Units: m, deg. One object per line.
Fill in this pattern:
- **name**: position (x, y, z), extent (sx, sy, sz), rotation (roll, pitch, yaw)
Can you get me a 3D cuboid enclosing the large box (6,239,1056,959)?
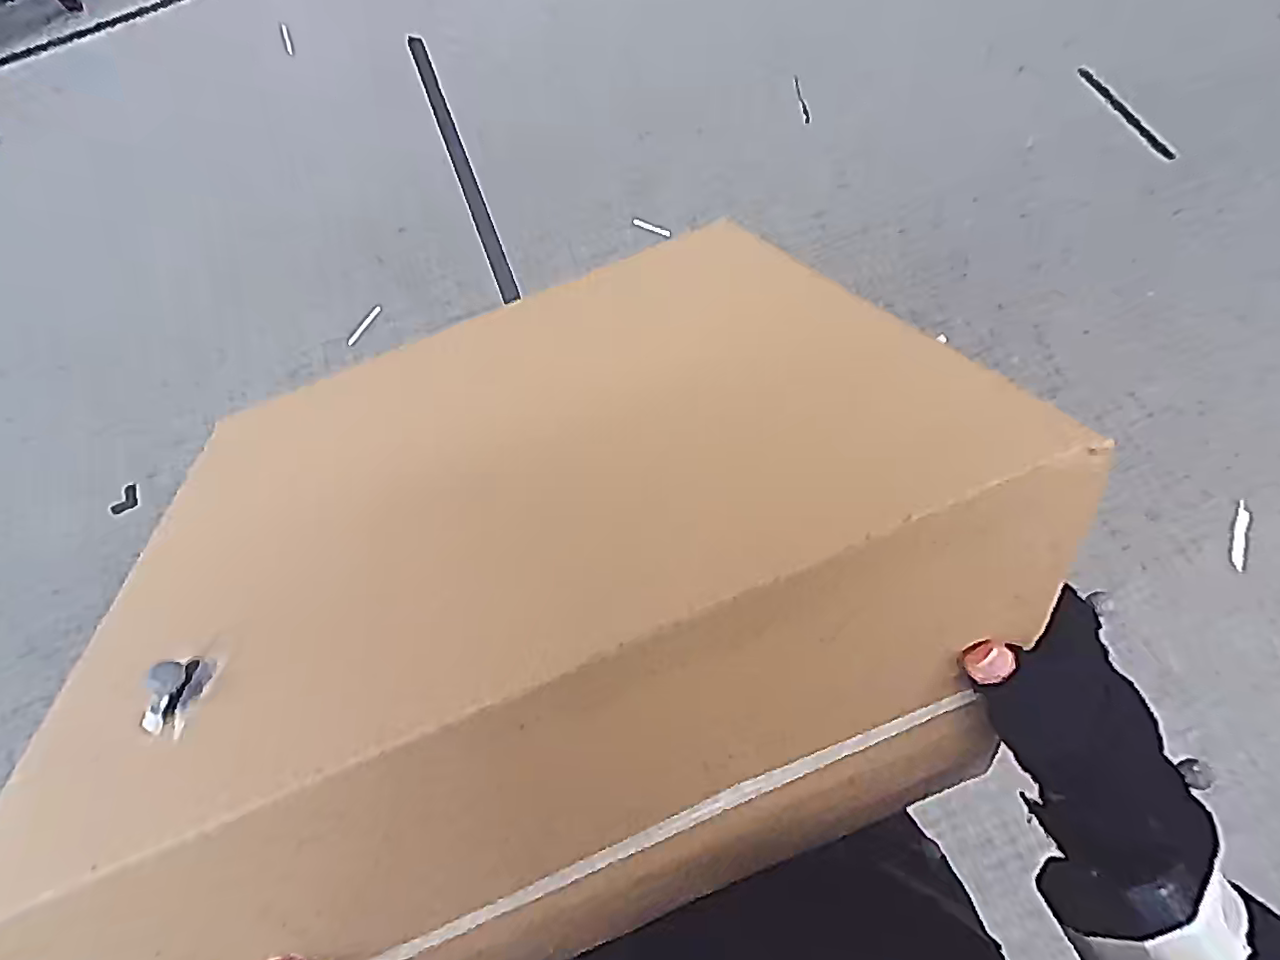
- **large box**: position (-0.033, 0.082, 0.393), extent (0.408, 0.320, 0.320), rotation (-23, 41, -2)
